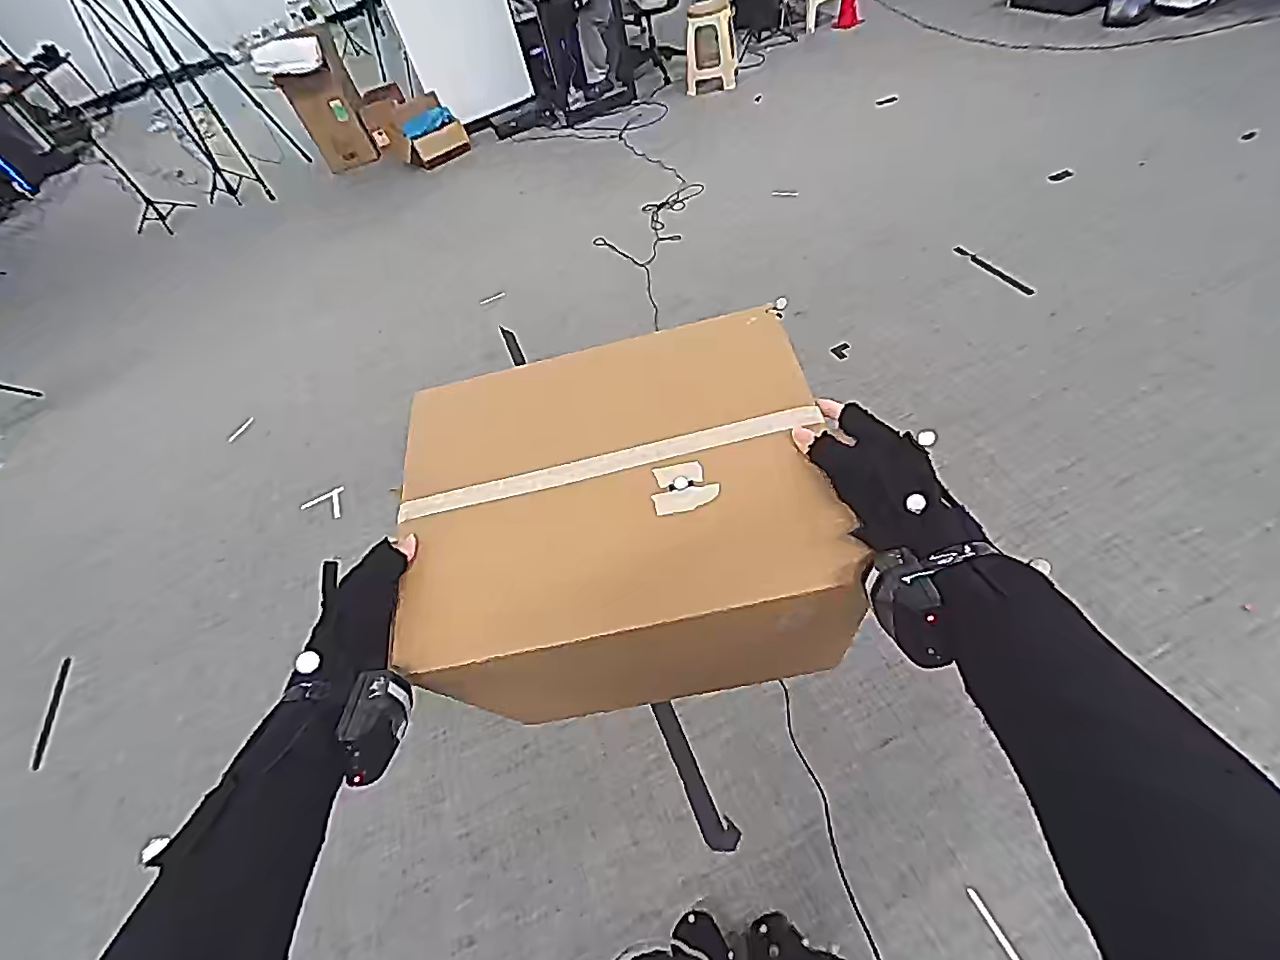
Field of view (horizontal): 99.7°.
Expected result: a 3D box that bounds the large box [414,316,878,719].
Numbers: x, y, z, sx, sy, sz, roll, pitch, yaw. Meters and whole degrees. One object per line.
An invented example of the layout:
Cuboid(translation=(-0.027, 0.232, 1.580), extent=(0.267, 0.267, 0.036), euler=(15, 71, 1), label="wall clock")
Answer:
Cuboid(translation=(0.002, 0.066, 0.647), extent=(0.408, 0.320, 0.320), euler=(-13, 58, 4), label="large box")
